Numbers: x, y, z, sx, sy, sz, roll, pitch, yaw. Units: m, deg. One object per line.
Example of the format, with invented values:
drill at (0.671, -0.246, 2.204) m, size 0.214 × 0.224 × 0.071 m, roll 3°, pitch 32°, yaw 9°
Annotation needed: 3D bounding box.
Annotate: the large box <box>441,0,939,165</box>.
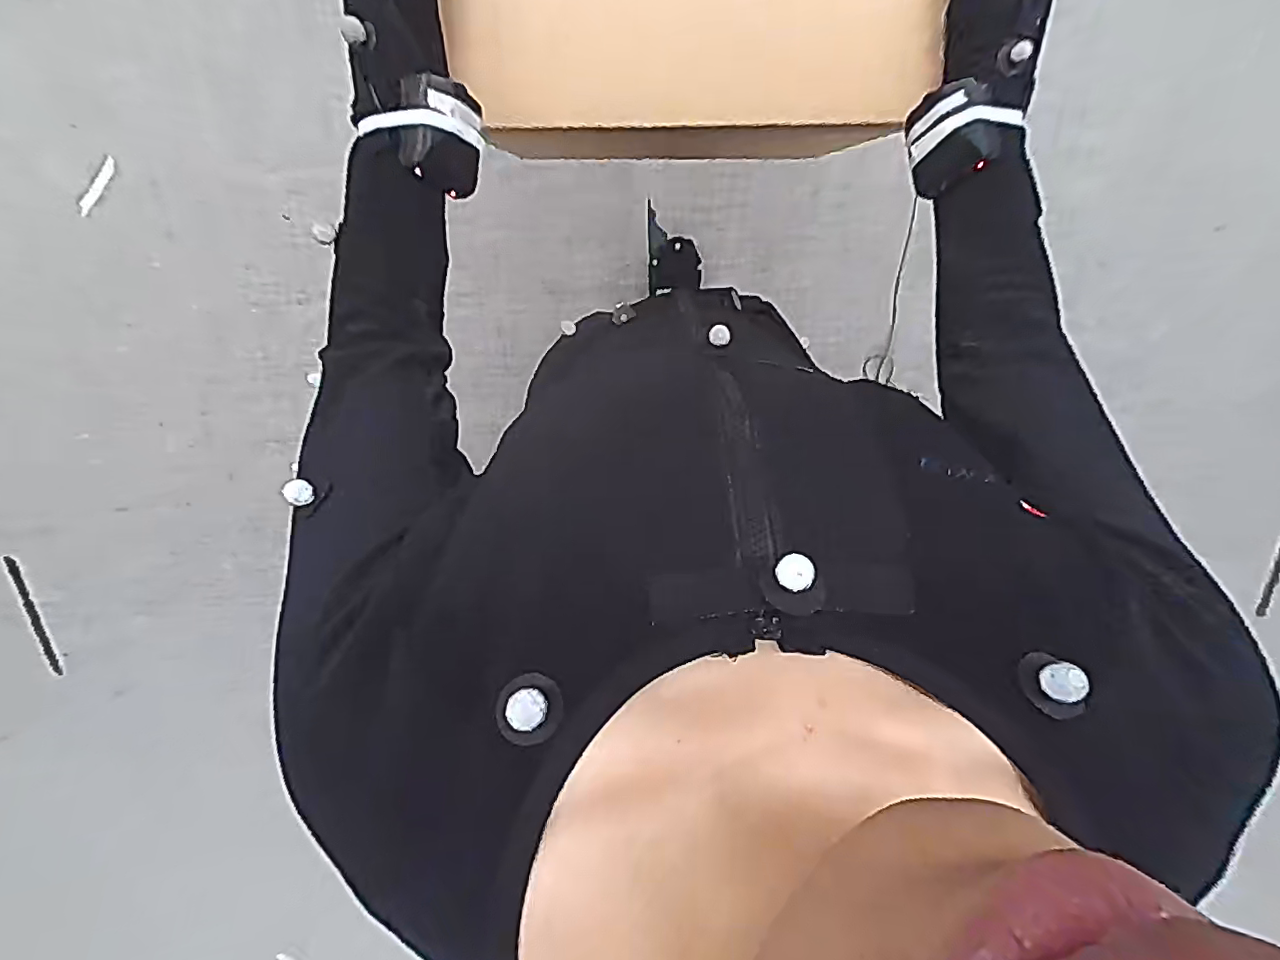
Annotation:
large box at (0.033, -0.508, 0.529) m, size 0.408 × 0.320 × 0.320 m, roll -2°, pitch 116°, yaw -1°
